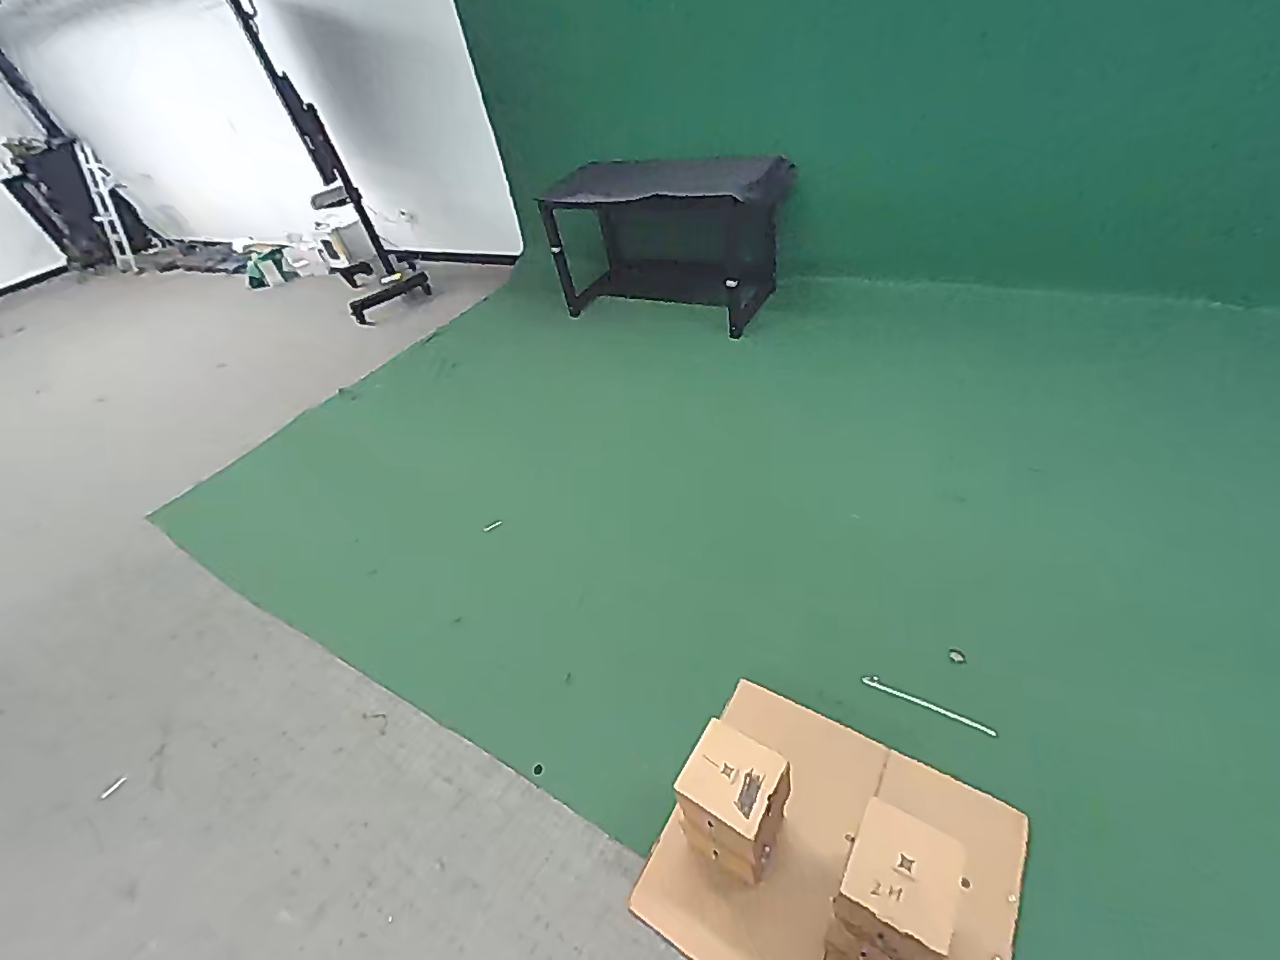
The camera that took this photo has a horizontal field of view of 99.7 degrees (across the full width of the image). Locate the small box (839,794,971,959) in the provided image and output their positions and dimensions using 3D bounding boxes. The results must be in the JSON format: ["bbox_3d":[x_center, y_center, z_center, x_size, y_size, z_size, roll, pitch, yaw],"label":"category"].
[{"bbox_3d":[0.463,0.712,0.962,0.168,0.176,0.179,17,49,31],"label":"small box"}]

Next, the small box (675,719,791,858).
[{"bbox_3d":[0.198,0.637,1.111,0.179,0.176,0.168,18,50,33],"label":"small box"}]

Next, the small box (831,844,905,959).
[{"bbox_3d":[0.484,0.841,1.064,0.168,0.176,0.179,15,49,29],"label":"small box"}]
